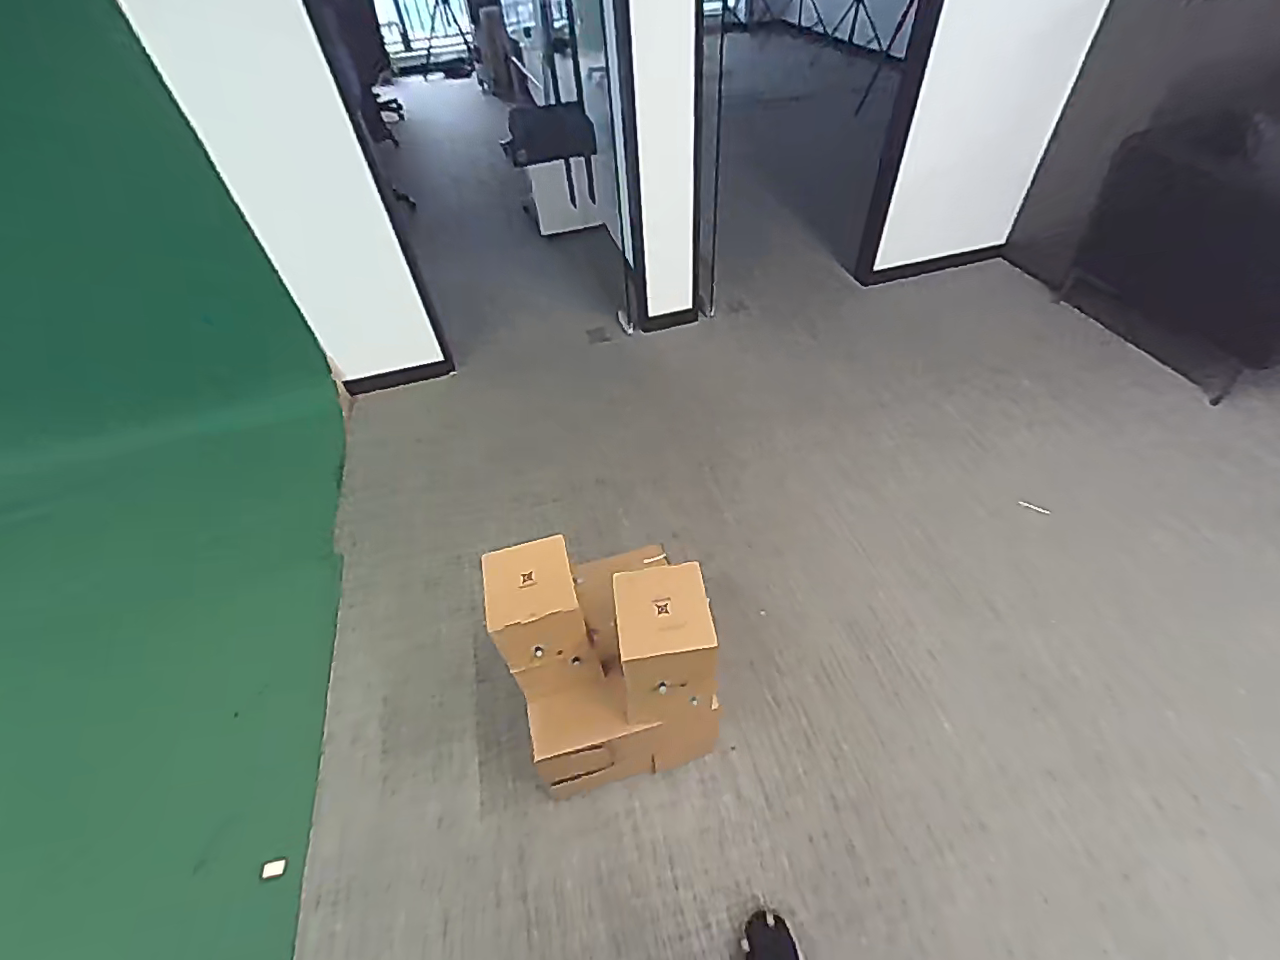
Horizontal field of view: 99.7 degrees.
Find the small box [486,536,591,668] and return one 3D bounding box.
[{"bbox_3d":[-0.201,0.243,1.074,0.168,0.176,0.179,-14,47,-7],"label":"small box"}]

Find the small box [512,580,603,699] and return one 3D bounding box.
[{"bbox_3d":[-0.185,0.353,1.193,0.179,0.176,0.168,-15,46,-8],"label":"small box"}]

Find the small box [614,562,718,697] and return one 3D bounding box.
[{"bbox_3d":[0.045,0.280,1.011,0.168,0.176,0.179,-8,47,-2],"label":"small box"}]
